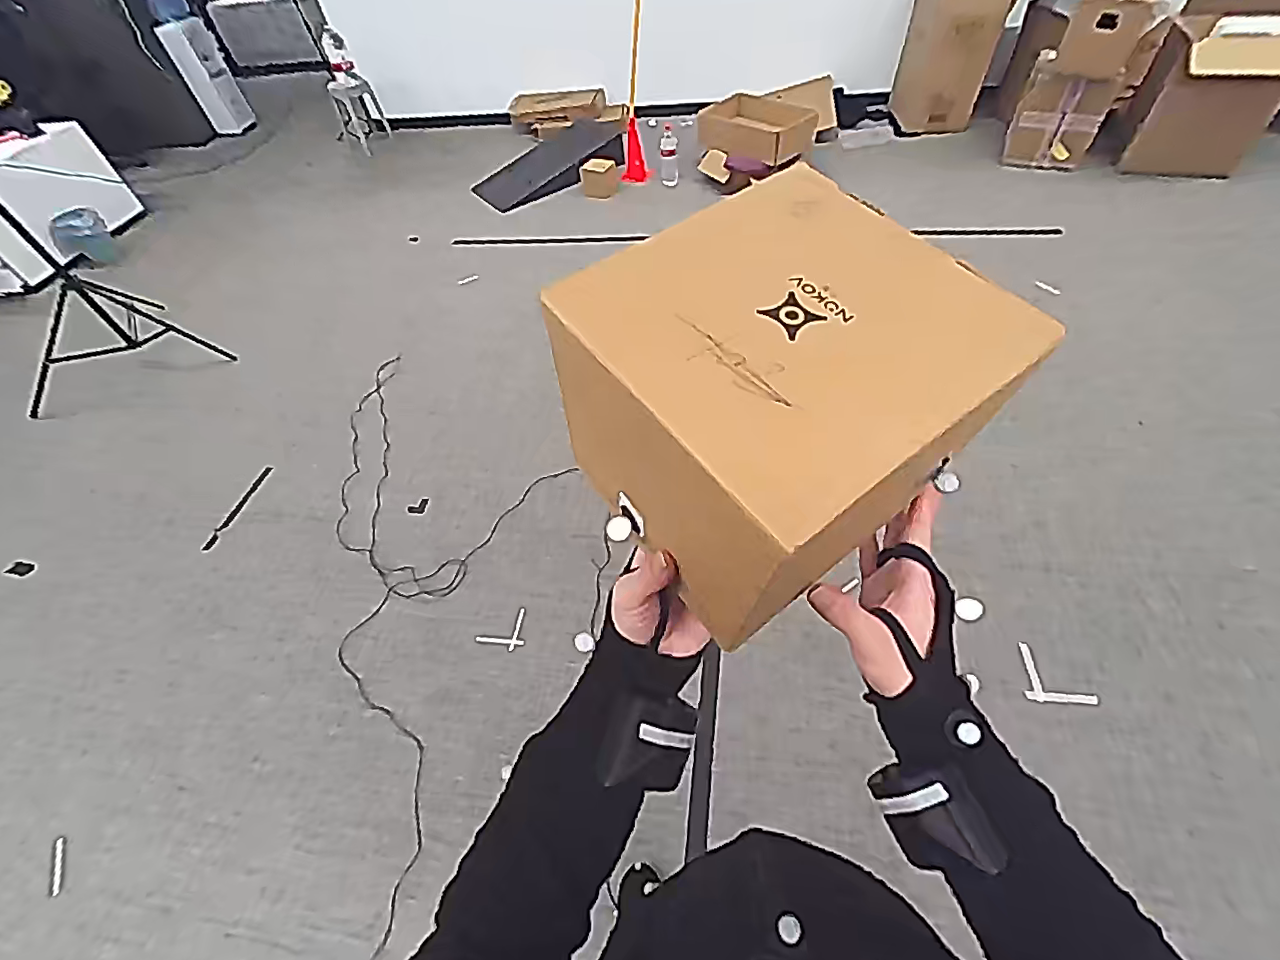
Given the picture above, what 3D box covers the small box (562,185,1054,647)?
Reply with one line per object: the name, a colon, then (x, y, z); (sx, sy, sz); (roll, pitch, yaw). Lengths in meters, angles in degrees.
small box: (0.076, -0.030, 0.325); (0.179, 0.176, 0.168); (-34, 65, -17)
